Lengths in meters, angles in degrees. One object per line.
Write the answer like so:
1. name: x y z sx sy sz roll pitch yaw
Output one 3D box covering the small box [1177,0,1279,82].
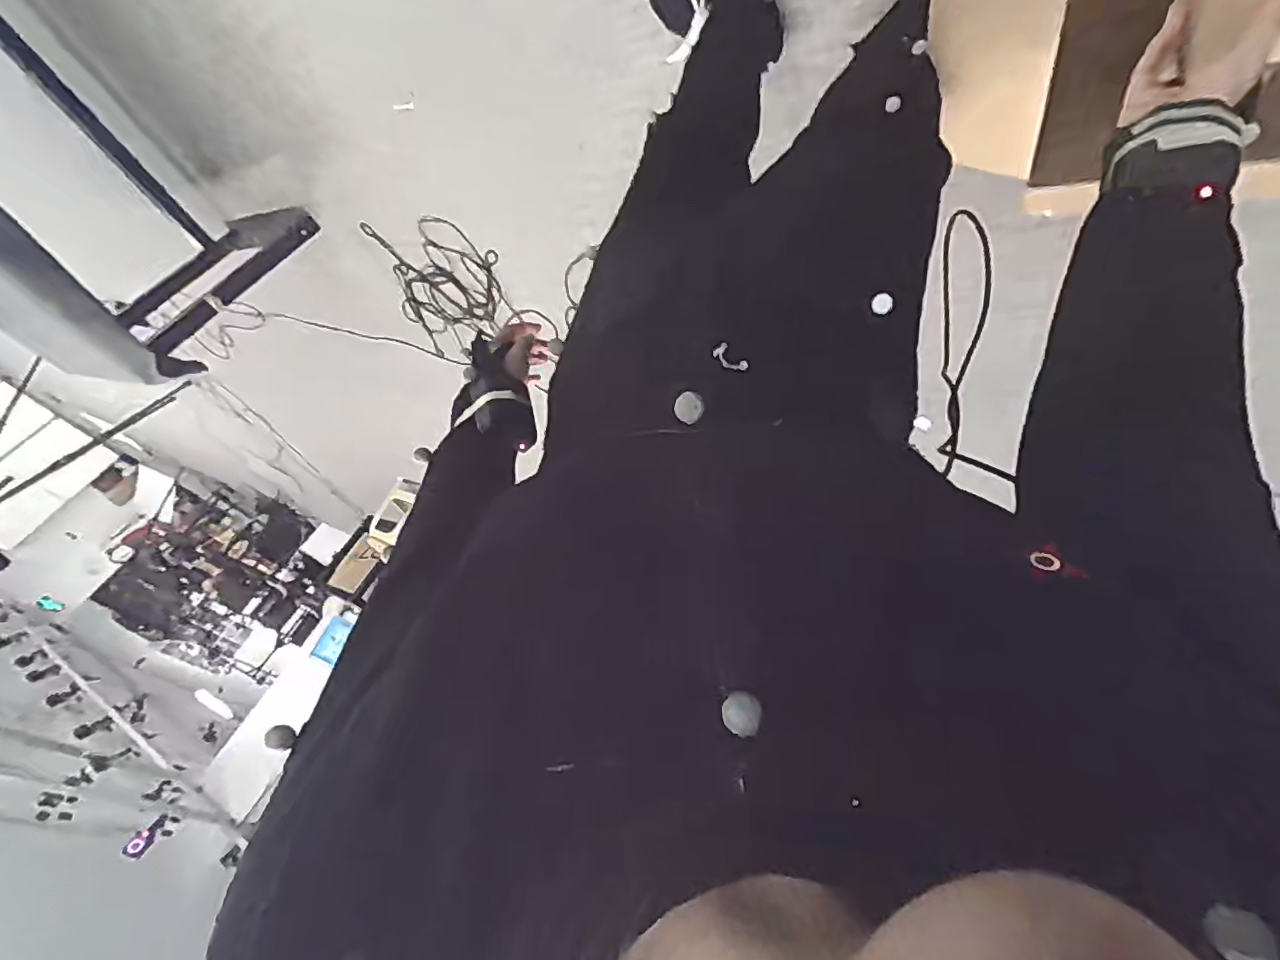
1. small box: 0.470 -0.412 0.343 0.168 0.176 0.179 4 144 38
